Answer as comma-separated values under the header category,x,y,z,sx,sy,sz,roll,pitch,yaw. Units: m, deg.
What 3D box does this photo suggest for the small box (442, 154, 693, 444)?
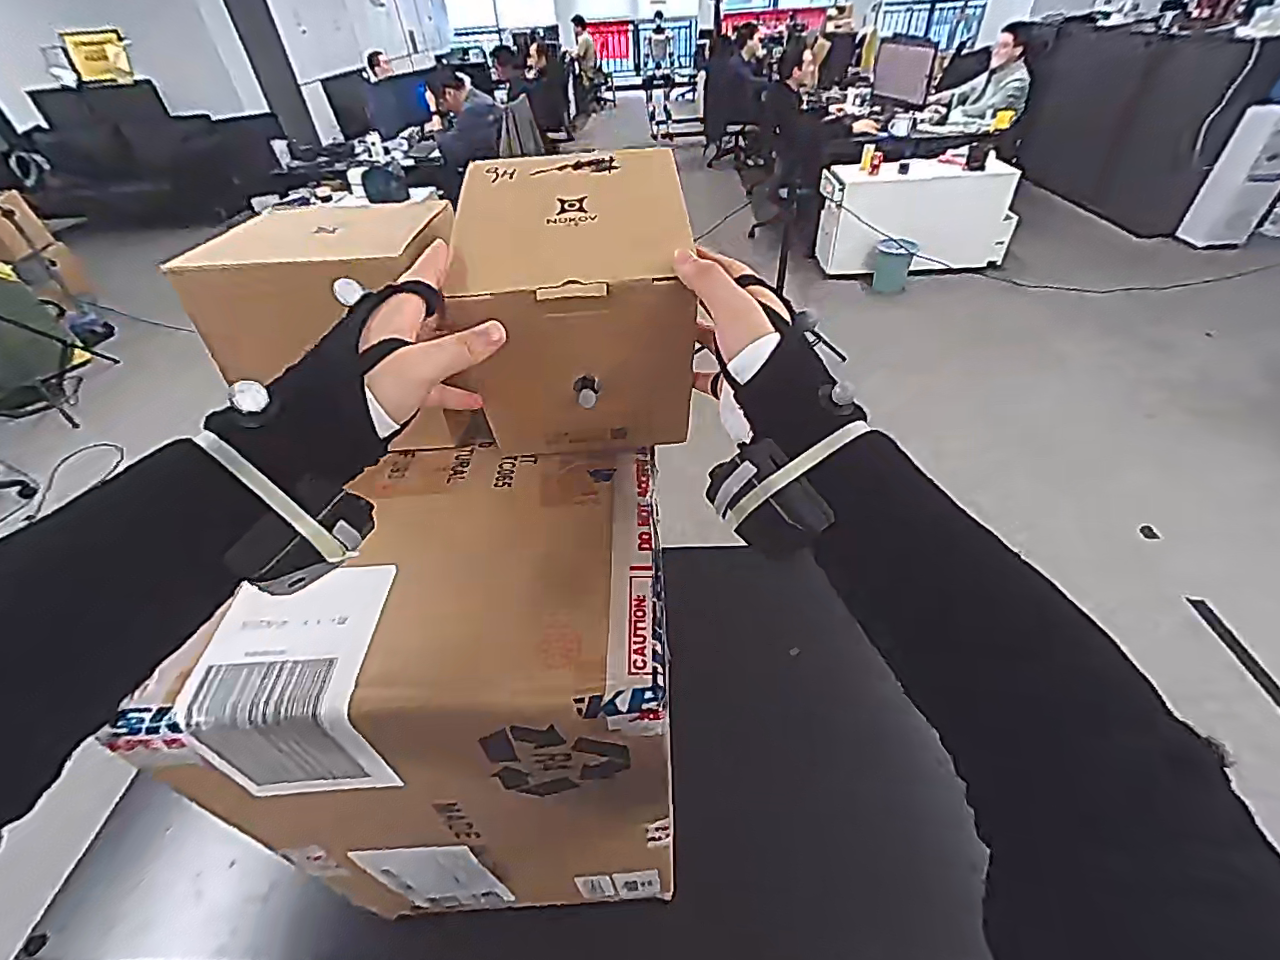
category,x,y,z,sx,sy,sz,roll,pitch,yaw
small box,-0.050,-0.142,0.454,0.168,0.176,0.179,-4,56,-3

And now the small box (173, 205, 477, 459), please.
category,x,y,z,sx,sy,sz,roll,pitch,yaw
small box,-0.251,-0.138,0.495,0.168,0.176,0.179,-4,40,-2
